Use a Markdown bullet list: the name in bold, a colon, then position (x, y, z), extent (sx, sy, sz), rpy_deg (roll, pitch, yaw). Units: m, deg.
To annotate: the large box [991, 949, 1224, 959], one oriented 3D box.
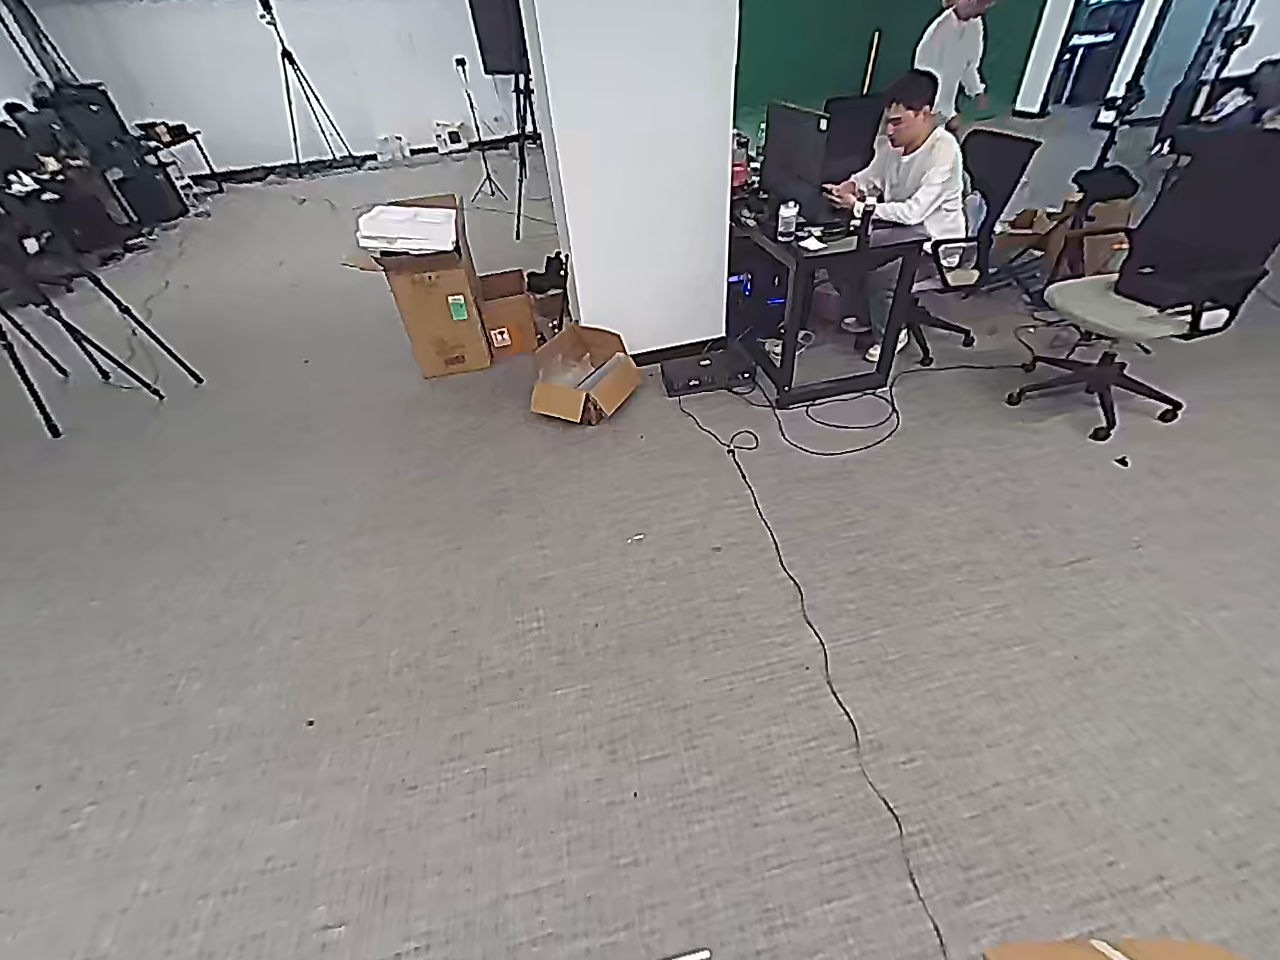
- **large box**: position (0.629, 0.740, 0.515), extent (0.320, 0.408, 0.320), rpy_deg (-4, 73, 3)
